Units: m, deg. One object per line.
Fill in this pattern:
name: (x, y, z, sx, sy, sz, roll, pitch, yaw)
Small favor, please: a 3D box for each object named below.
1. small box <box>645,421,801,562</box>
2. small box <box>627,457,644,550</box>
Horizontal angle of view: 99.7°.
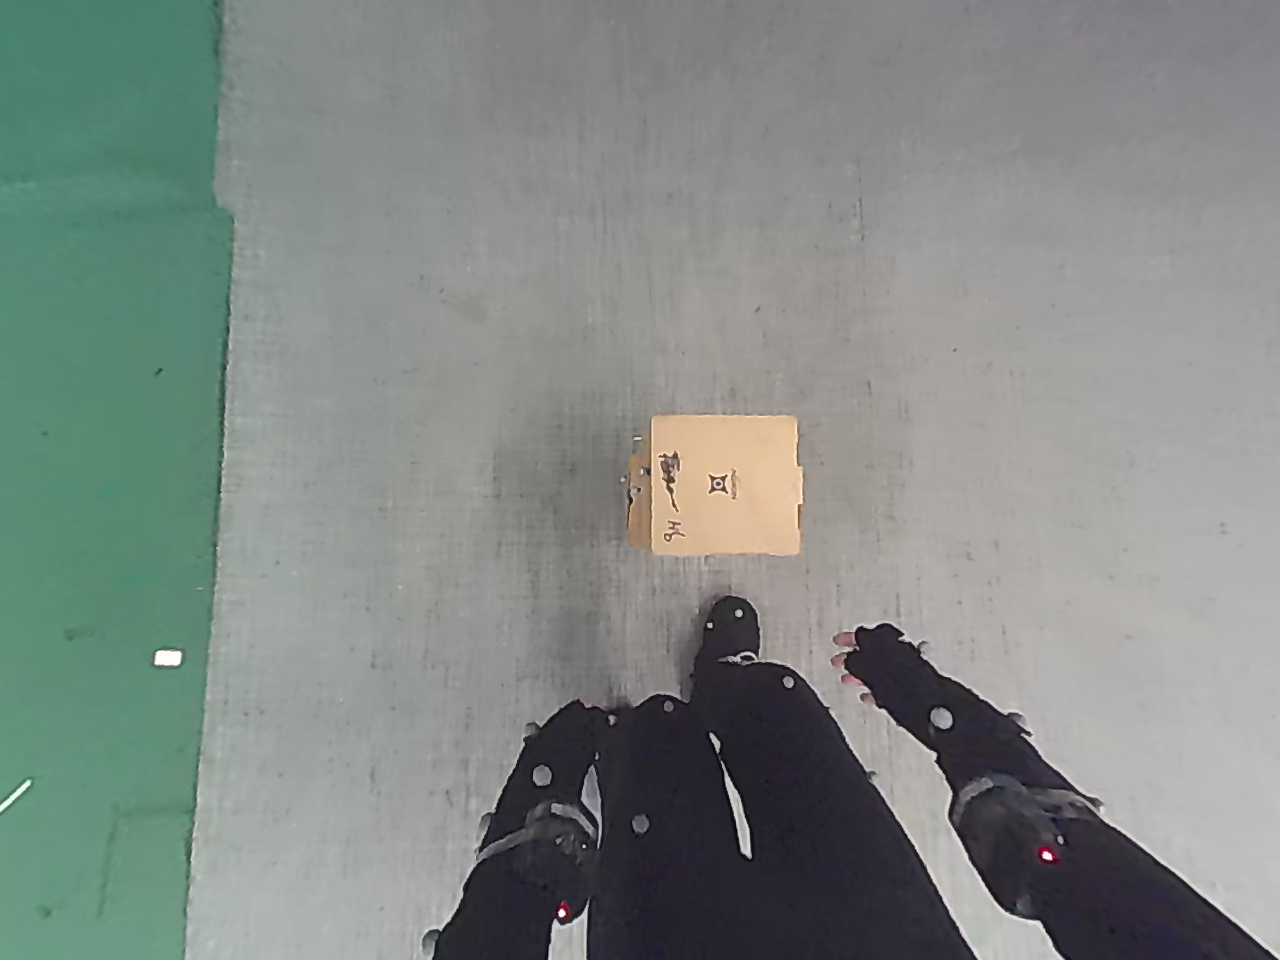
small box: (0.099, 0.020, 0.713, 0.179, 0.176, 0.168, 1, 84, -2)
small box: (0.066, 0.053, 1.035, 0.179, 0.176, 0.168, 2, 84, -3)
